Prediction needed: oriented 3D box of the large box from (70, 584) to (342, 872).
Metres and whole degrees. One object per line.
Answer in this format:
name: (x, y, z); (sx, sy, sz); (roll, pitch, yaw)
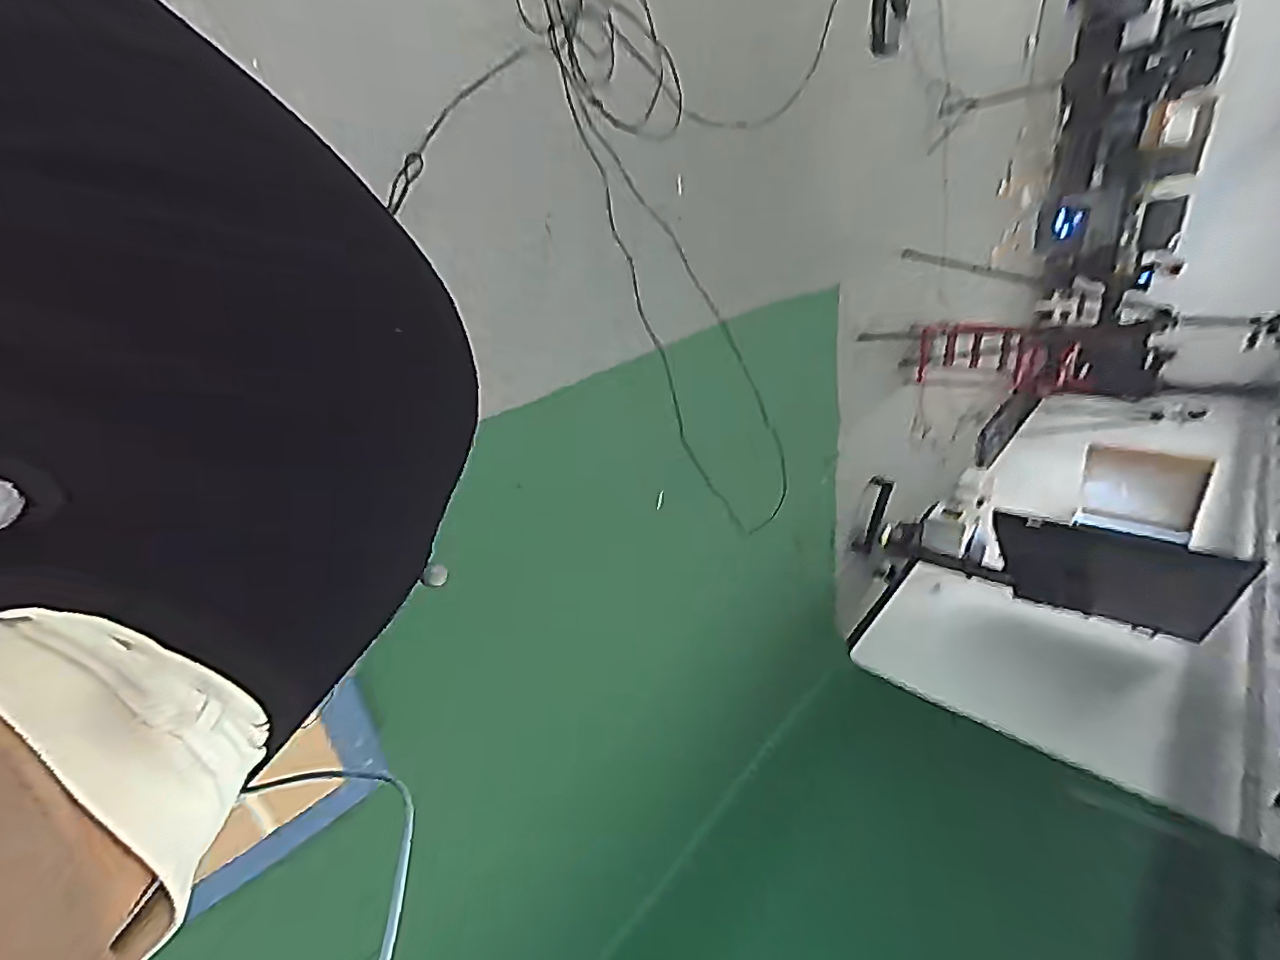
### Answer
large box: (-0.919, 0.504, 1.167); (0.320, 0.320, 0.408); (-27, 122, -39)
